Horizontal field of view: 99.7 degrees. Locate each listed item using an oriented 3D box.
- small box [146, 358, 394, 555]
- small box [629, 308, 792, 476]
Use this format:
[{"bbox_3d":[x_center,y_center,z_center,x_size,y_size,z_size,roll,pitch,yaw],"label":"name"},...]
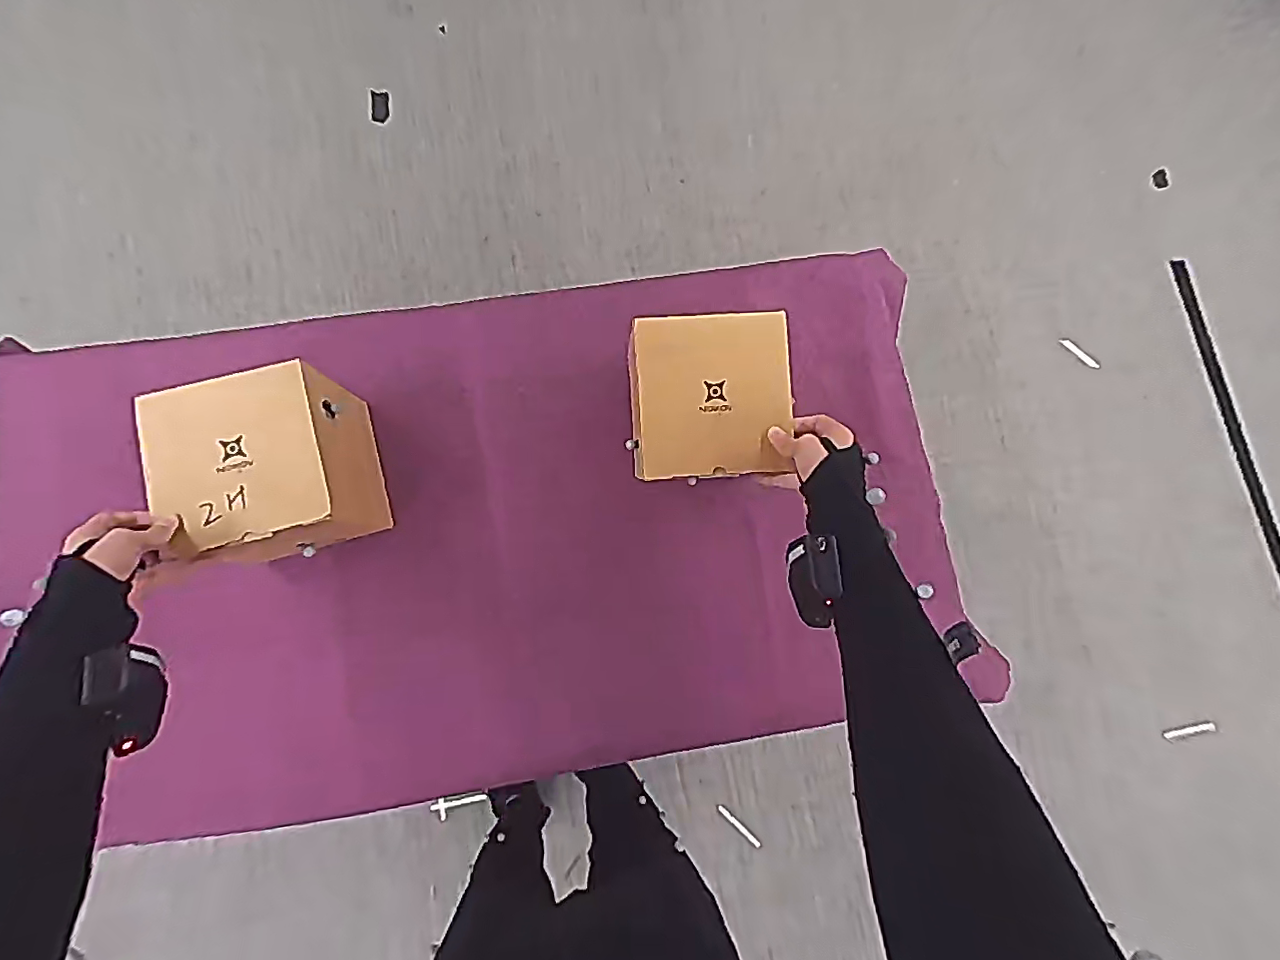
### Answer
[{"bbox_3d":[-0.413,-0.016,0.630,0.168,0.176,0.179,-15,83,-6],"label":"small box"},{"bbox_3d":[0.075,-0.096,0.662,0.168,0.176,0.179,-4,91,-3],"label":"small box"}]
